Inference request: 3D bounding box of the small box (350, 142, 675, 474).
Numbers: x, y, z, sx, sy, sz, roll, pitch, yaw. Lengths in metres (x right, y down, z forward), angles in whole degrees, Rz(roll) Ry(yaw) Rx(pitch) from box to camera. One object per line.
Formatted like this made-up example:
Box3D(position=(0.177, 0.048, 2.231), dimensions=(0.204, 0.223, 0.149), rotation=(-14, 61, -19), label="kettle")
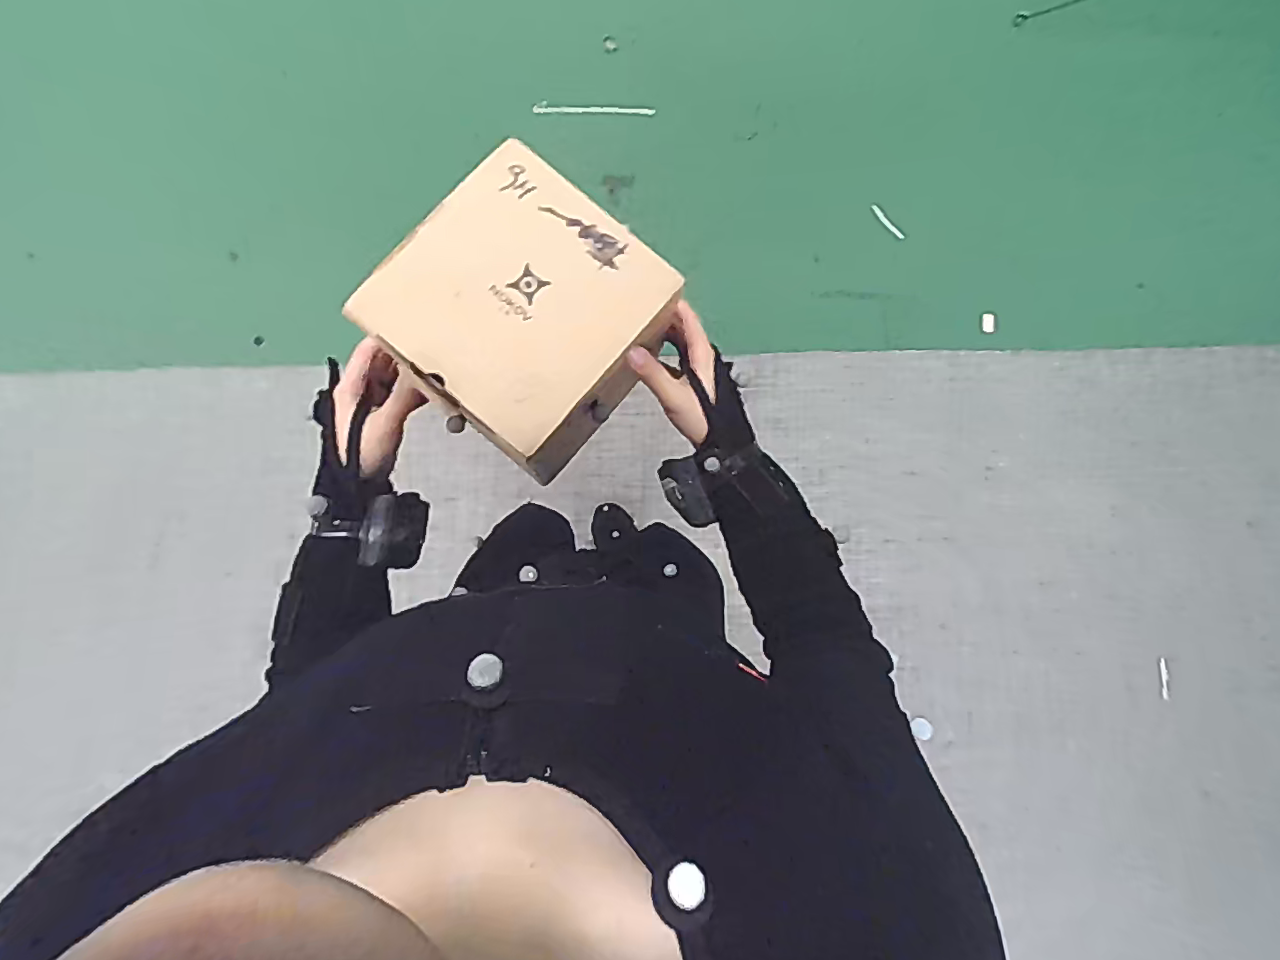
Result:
Box3D(position=(-0.092, -0.123, 0.462), dimensions=(0.168, 0.176, 0.179), rotation=(39, 83, 0), label="small box")
